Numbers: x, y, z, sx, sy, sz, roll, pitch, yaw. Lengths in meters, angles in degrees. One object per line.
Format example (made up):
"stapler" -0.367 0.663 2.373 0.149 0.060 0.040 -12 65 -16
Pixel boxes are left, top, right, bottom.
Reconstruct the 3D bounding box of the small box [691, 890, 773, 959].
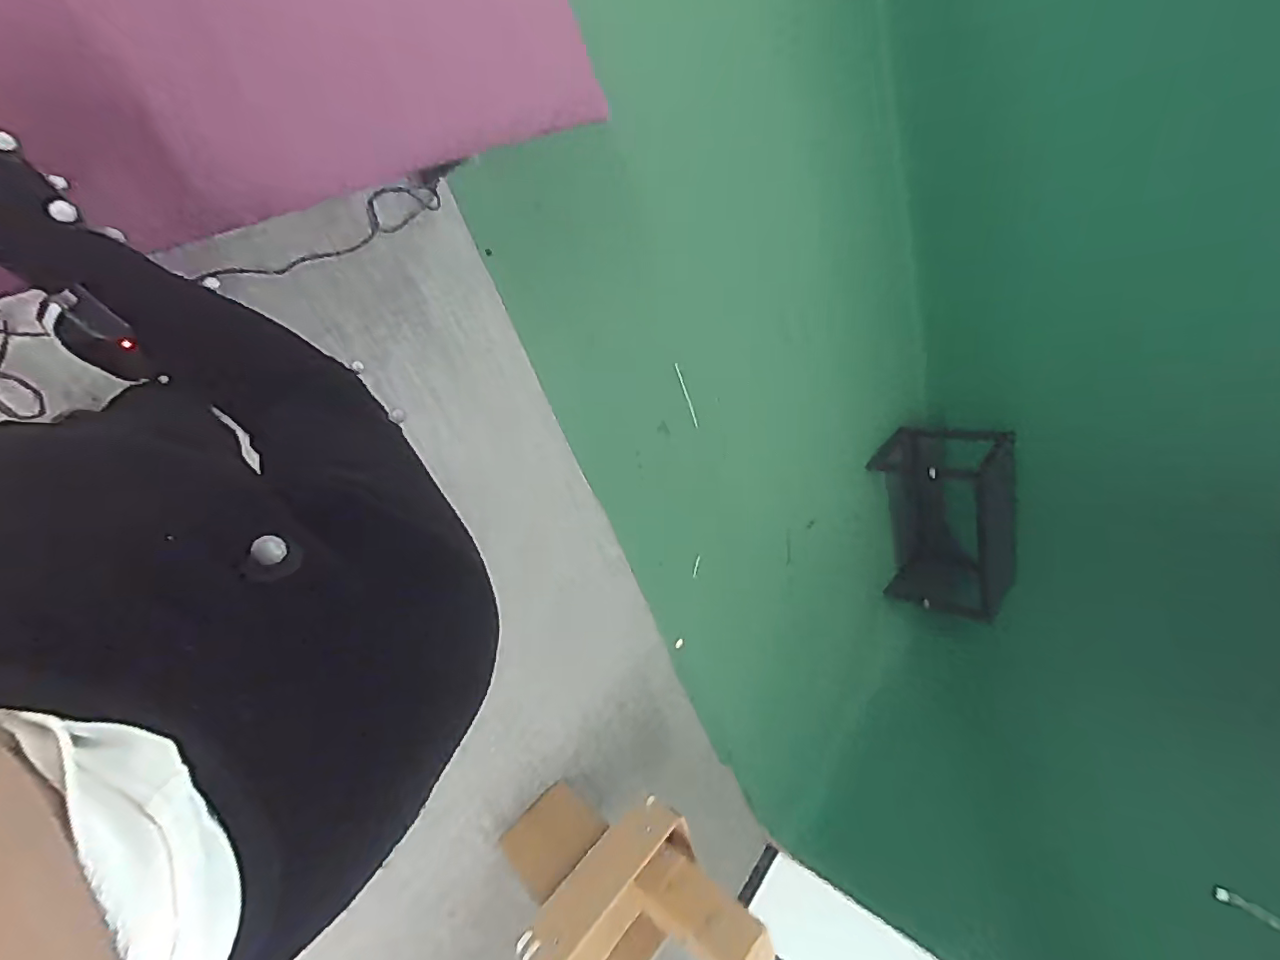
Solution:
"small box" 0.280 1.414 1.650 0.168 0.176 0.179 -31 117 -37

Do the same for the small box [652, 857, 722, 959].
"small box" 0.165 1.392 1.768 0.168 0.176 0.179 -32 117 -35
